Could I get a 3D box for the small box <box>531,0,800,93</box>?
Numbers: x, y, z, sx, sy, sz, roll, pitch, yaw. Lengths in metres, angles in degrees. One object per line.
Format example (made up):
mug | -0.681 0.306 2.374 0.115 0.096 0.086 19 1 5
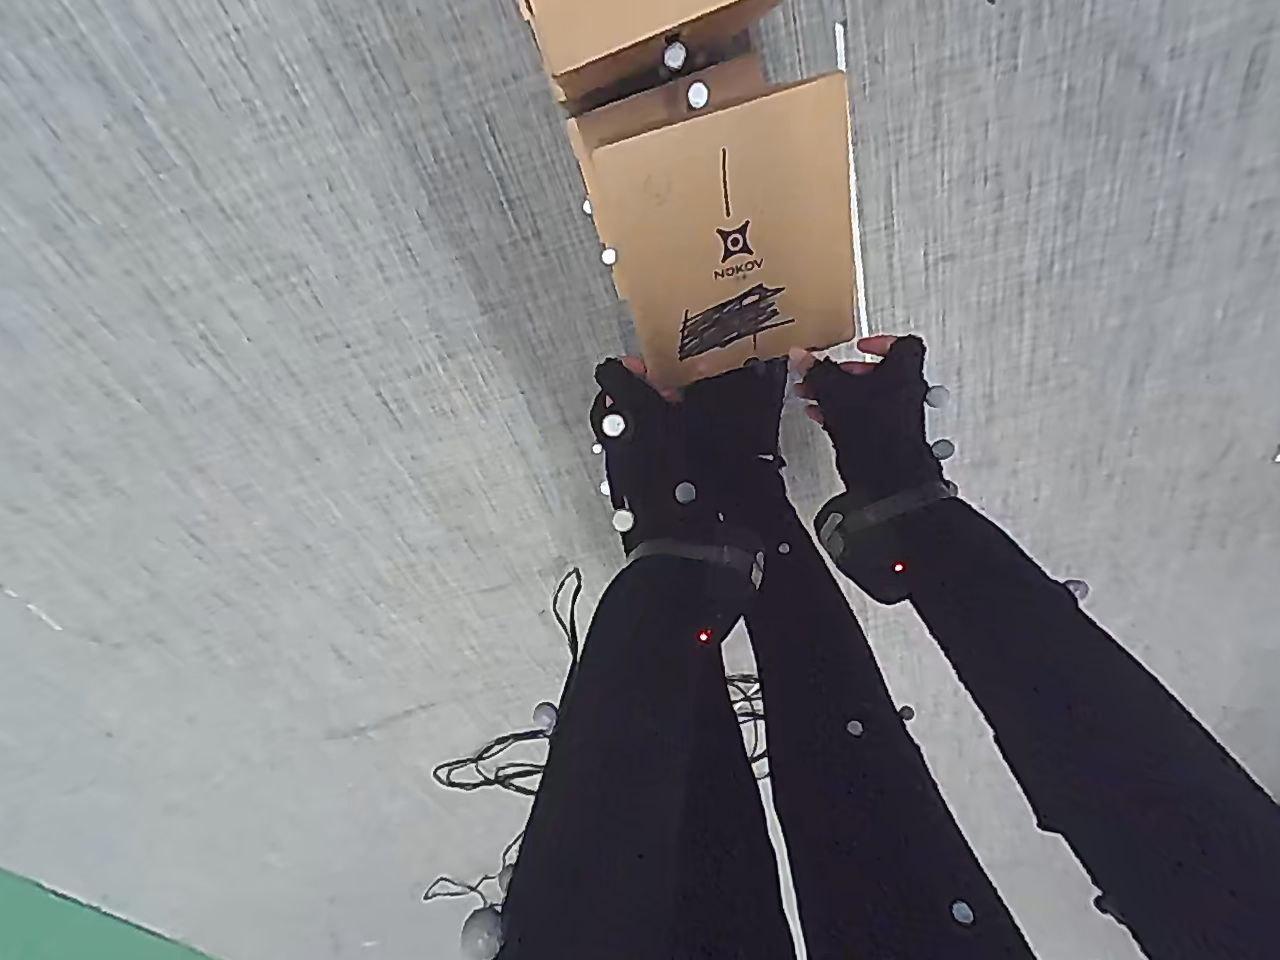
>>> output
small box | 0.005 -0.372 0.343 0.179 0.176 0.168 -16 122 9
